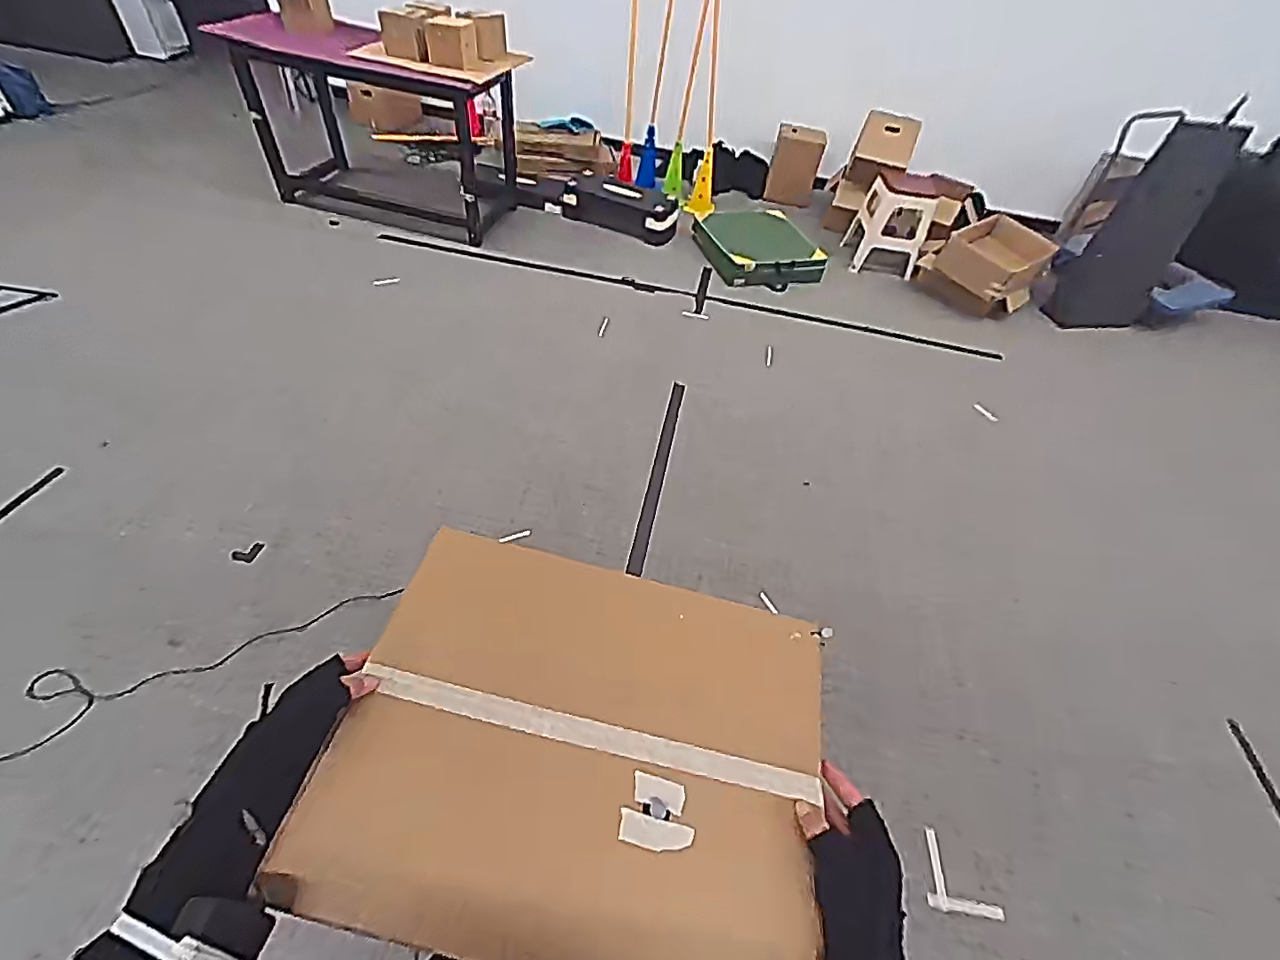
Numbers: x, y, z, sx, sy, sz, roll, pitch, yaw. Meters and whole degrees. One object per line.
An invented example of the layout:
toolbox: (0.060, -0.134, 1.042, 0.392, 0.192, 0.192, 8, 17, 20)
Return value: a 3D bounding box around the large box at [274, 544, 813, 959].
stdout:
large box: (-0.066, 0.317, 0.590, 0.408, 0.320, 0.320, 14, 52, 0)
